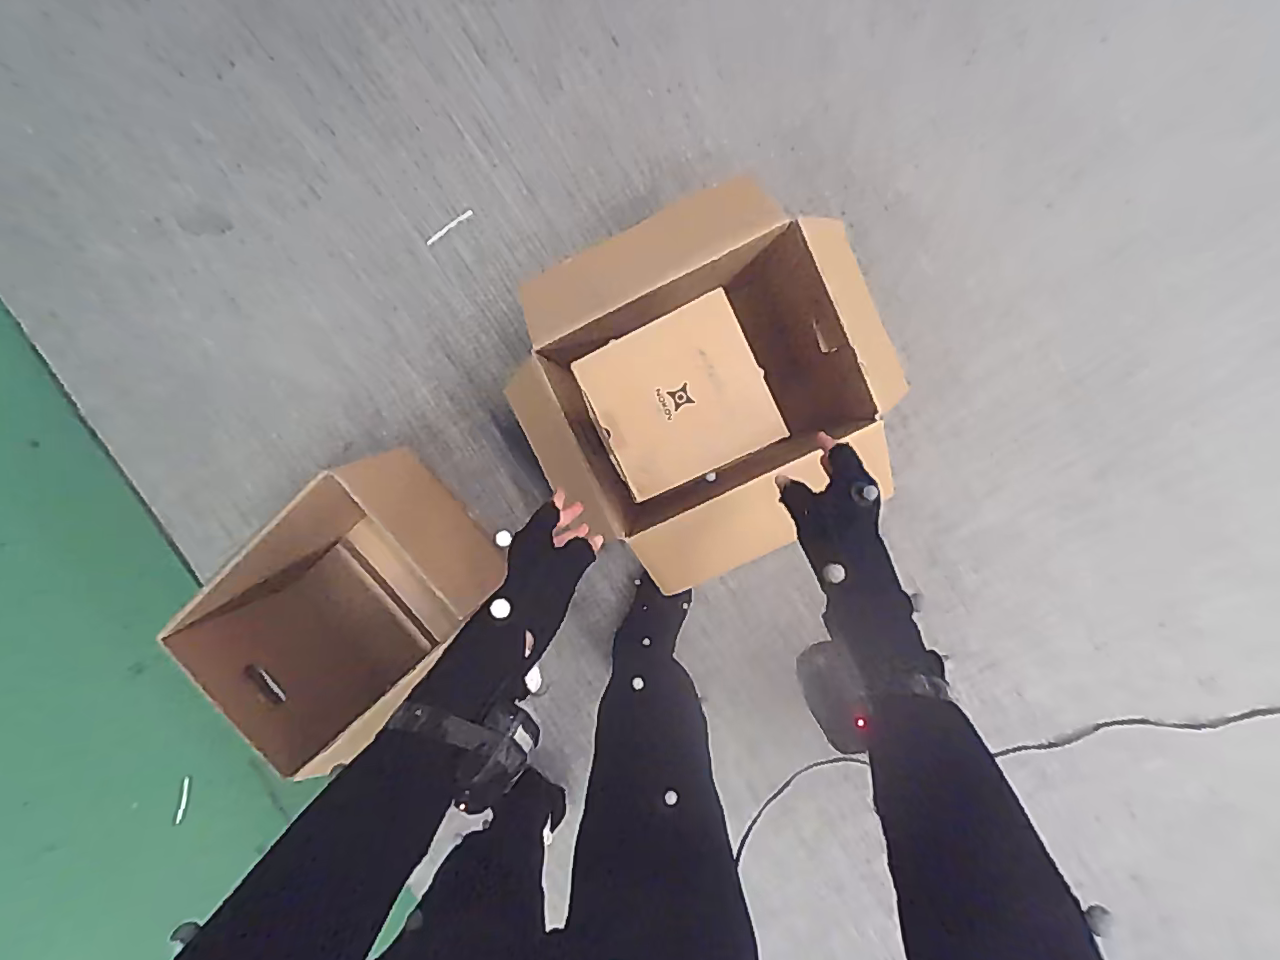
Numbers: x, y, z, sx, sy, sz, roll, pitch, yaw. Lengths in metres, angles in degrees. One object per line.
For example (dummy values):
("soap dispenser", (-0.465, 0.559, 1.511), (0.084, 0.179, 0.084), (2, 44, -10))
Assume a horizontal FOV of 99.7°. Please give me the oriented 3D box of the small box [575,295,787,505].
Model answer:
("small box", (0.050, -0.089, 0.642), (0.179, 0.176, 0.168), (-26, 95, 8))
